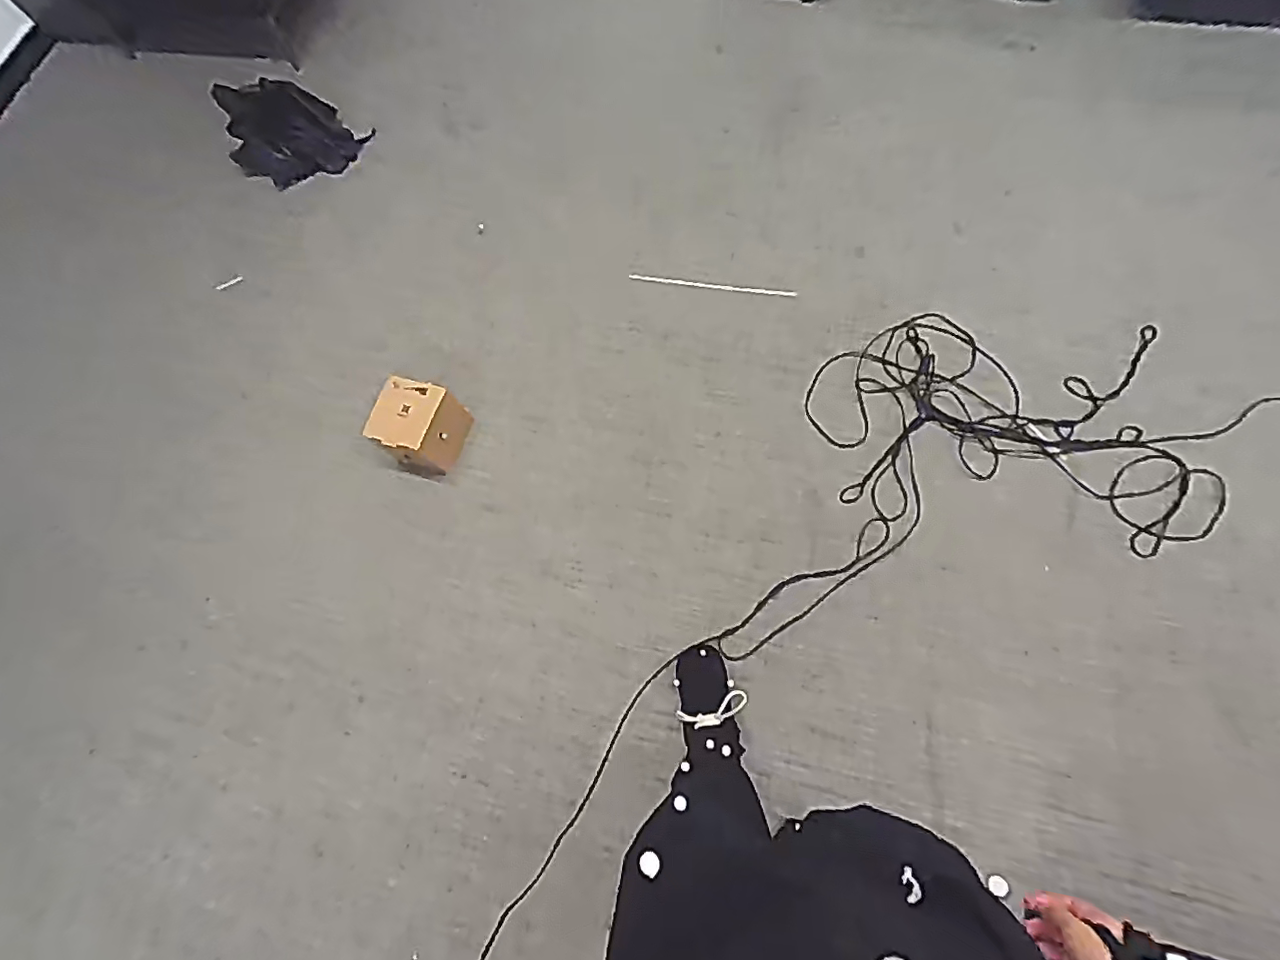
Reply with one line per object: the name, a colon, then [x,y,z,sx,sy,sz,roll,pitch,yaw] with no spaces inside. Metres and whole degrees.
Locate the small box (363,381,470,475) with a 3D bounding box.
small box: [-0.571,-0.129,1.409,0.168,0.176,0.179,15,74,12]
